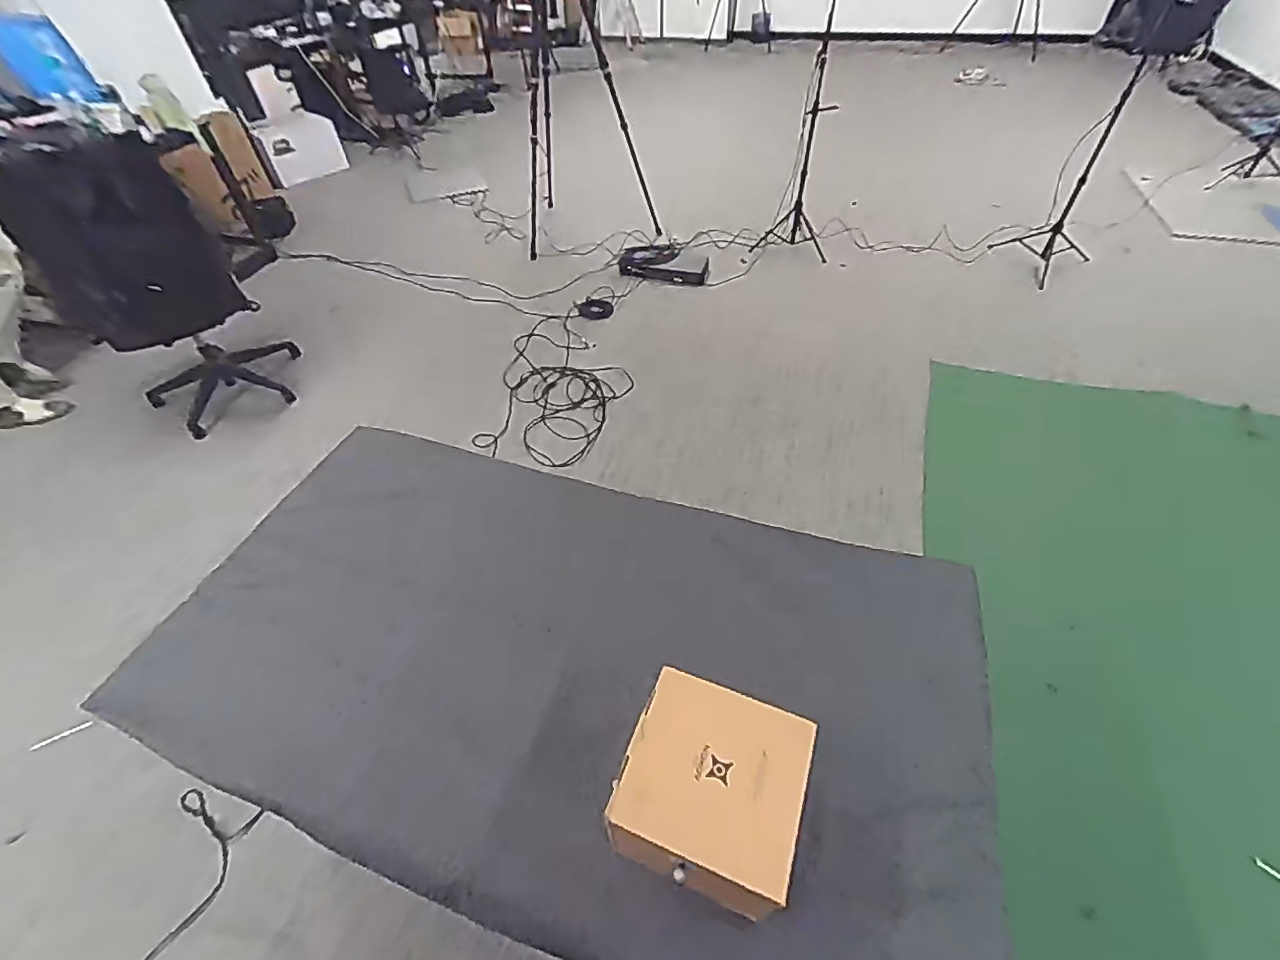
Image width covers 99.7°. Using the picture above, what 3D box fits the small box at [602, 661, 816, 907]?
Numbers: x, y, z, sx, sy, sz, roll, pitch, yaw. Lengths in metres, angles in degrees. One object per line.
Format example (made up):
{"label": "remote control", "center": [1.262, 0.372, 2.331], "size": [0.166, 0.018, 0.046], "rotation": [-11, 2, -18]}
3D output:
{"label": "small box", "center": [0.075, 0.333, 0.592], "size": [0.179, 0.176, 0.168], "rotation": [16, 50, 16]}
